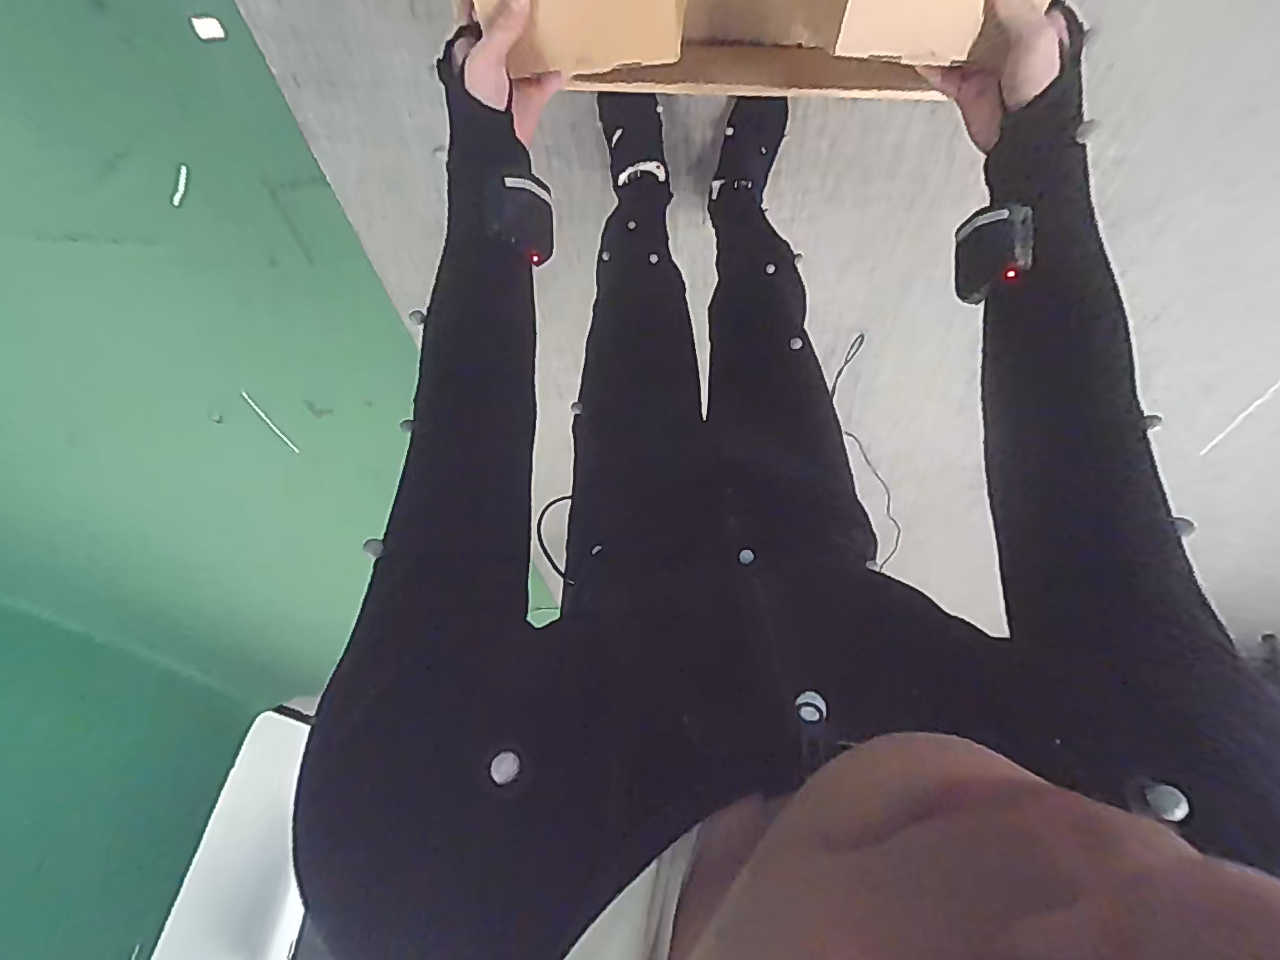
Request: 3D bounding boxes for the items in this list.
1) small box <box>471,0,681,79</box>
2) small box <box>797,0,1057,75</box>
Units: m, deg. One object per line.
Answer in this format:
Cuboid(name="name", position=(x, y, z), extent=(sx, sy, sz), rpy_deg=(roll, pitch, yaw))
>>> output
Cuboid(name="small box", position=(-0.052, -0.467, 0.438), extent=(0.168, 0.176, 0.179), rpy_deg=(0, 147, 7))
Cuboid(name="small box", position=(0.236, -0.455, 0.426), extent=(0.168, 0.176, 0.179), rpy_deg=(0, 140, -6))
